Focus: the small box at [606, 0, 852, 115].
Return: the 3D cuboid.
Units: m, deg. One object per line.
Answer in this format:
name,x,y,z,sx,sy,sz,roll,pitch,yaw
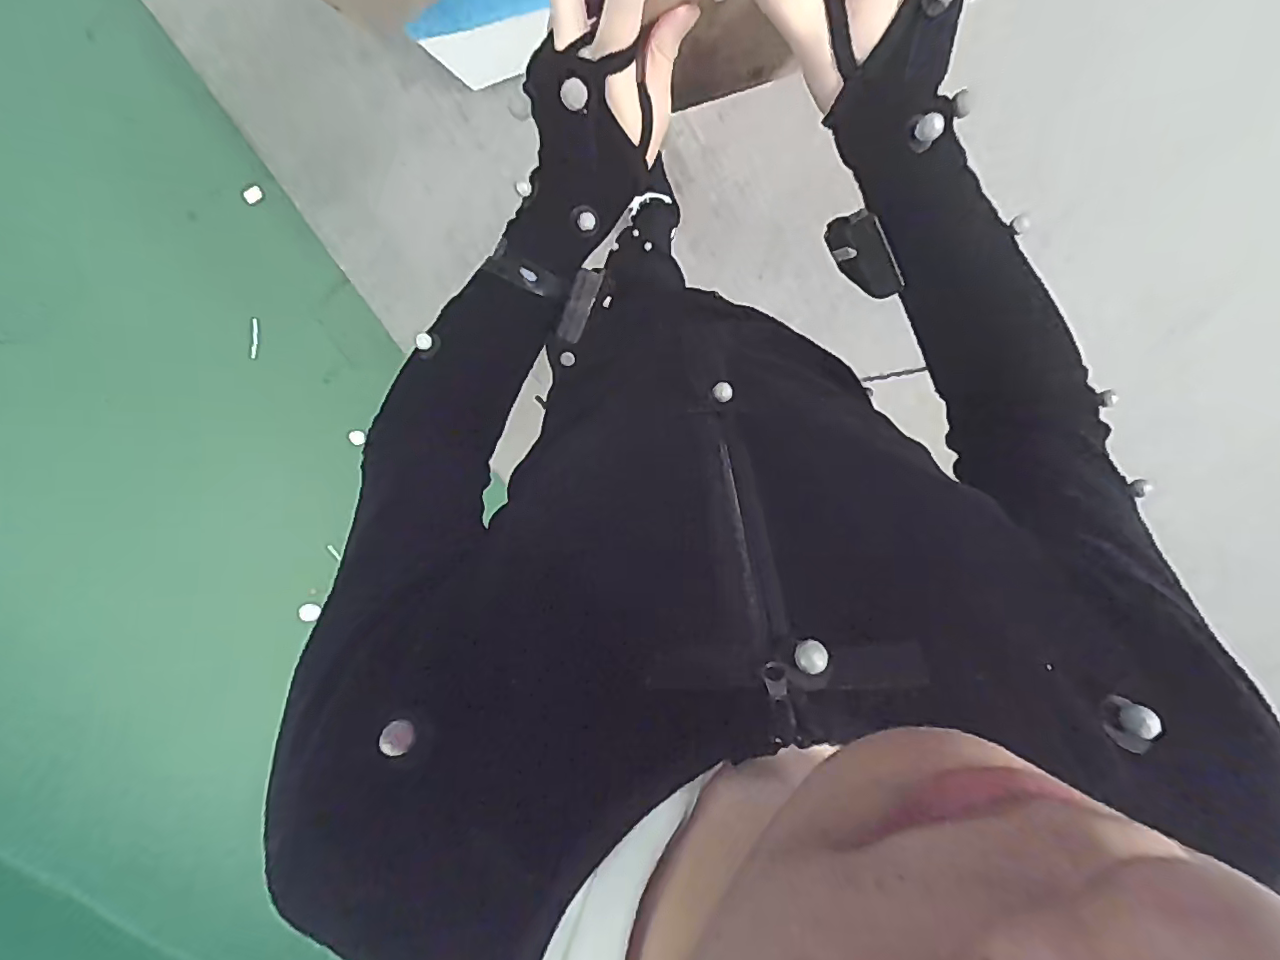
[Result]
small box,0.047,-0.389,0.352,0.168,0.176,0.179,-13,97,7
